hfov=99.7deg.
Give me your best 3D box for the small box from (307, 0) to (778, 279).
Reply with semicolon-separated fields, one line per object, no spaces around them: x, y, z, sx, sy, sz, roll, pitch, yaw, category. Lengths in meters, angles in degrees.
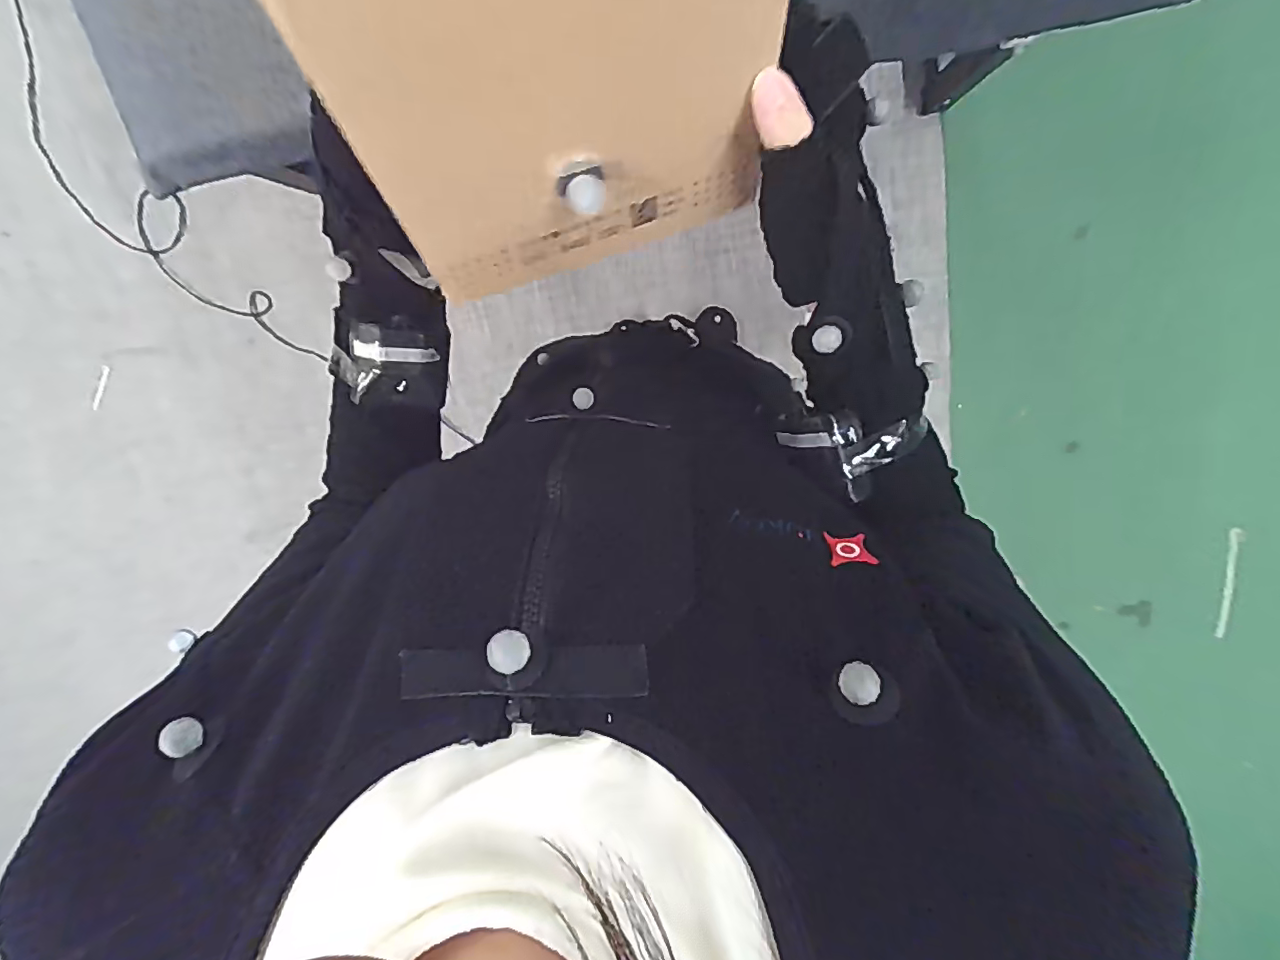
-0.052;-0.226;0.230;0.168;0.176;0.179;-22;73;-3;small box
